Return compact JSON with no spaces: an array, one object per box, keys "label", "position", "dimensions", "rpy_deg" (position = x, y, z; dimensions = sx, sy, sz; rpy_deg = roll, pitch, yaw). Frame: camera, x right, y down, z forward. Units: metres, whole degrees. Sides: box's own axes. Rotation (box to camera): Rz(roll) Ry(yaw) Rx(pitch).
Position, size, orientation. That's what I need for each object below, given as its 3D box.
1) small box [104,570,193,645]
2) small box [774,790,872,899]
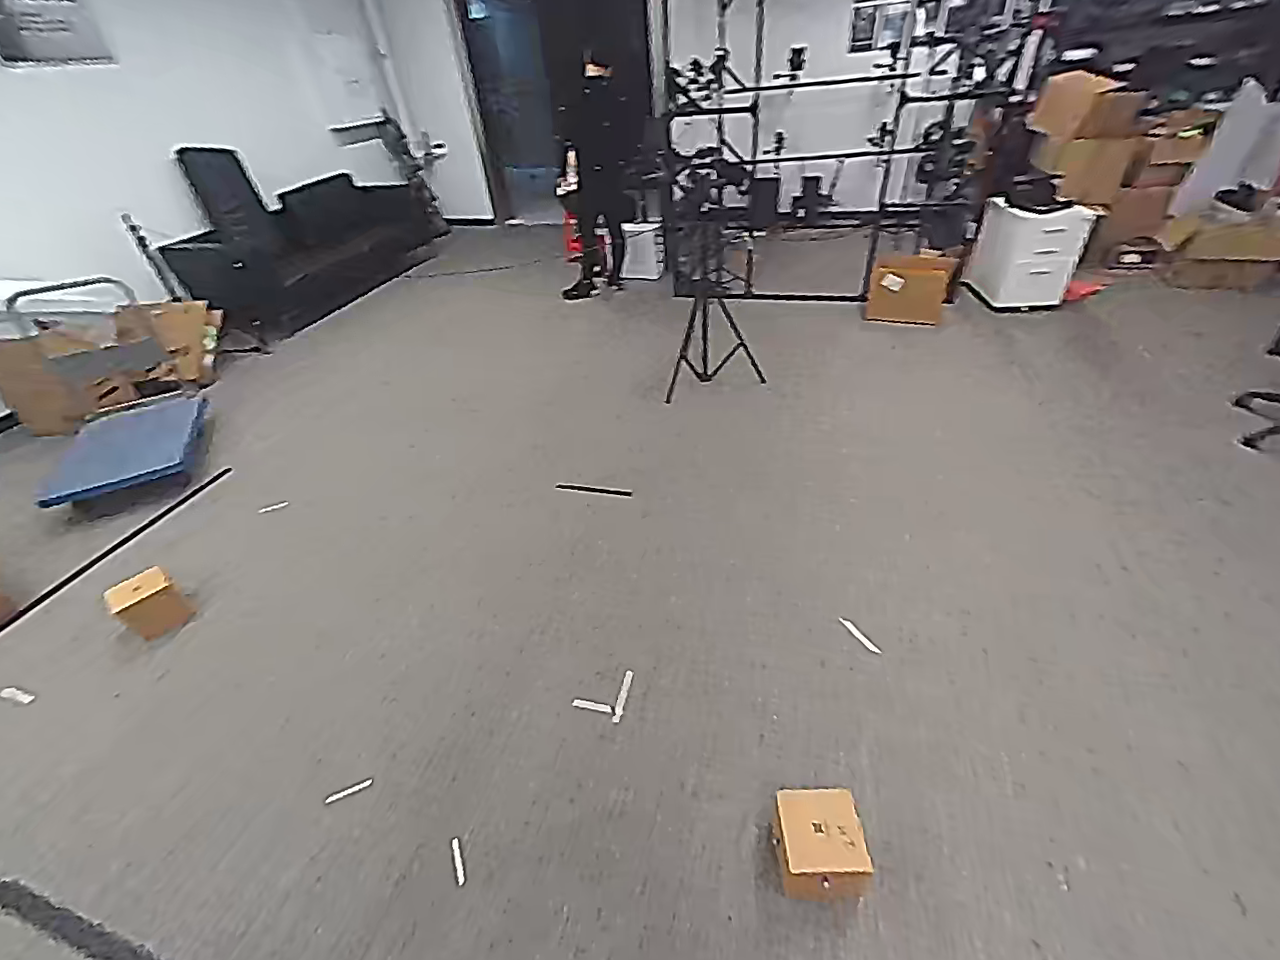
[{"label":"small box","position":[-1.824,0.478,2.010],"dimensions":[0.168,0.176,0.179],"rpy_deg":[25,47,34]},{"label":"small box","position":[0.407,0.837,1.239],"dimensions":[0.179,0.176,0.168],"rpy_deg":[-3,37,3]}]
